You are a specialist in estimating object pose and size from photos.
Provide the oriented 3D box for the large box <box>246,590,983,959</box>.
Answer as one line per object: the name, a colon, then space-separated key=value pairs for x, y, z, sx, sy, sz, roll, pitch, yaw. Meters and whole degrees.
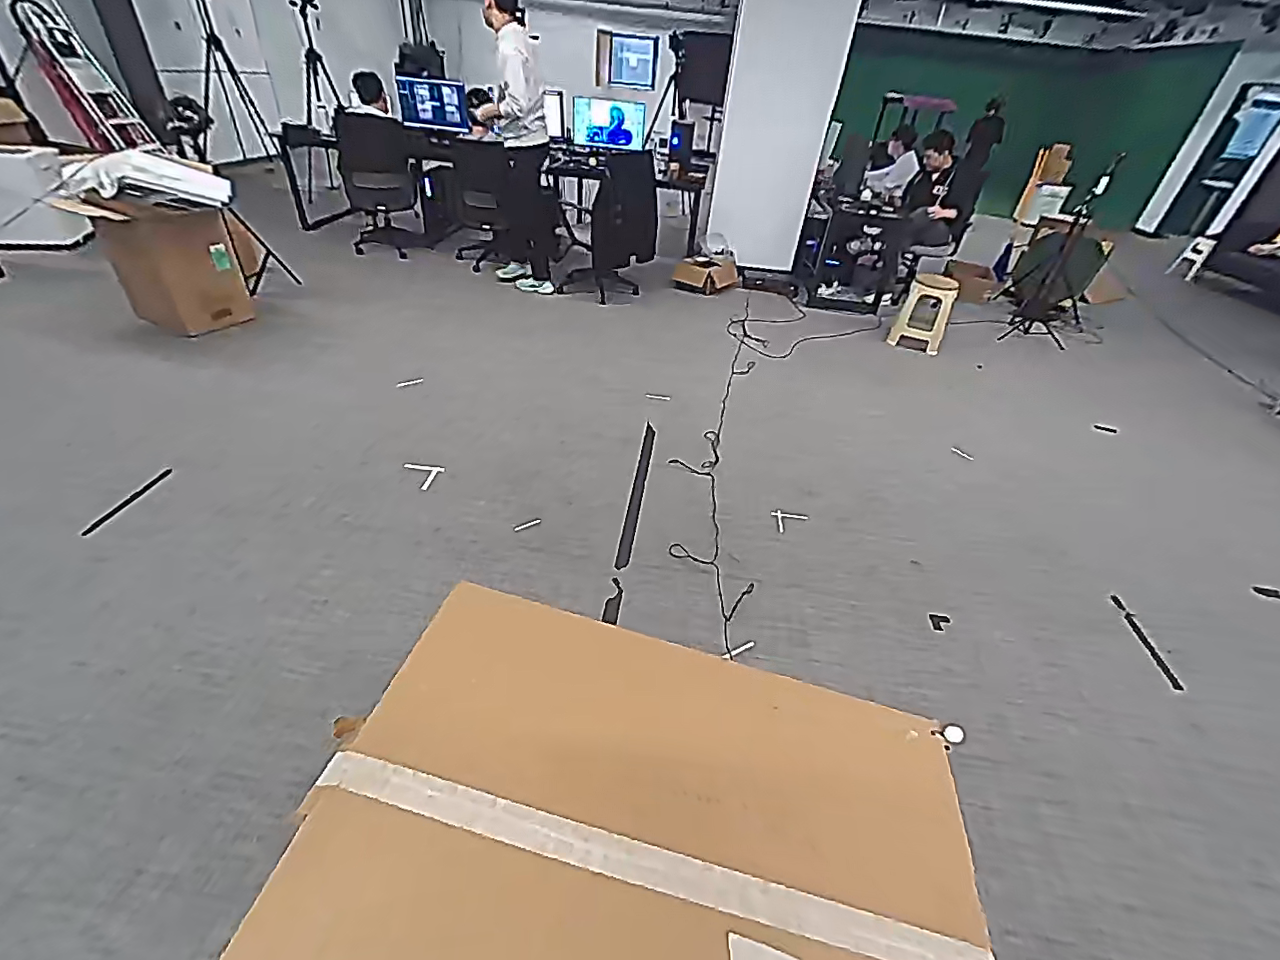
large box: x=-0.016 y=0.347 z=0.423 sx=0.408 sy=0.320 sz=0.320 roll=17 pitch=40 yaw=3
